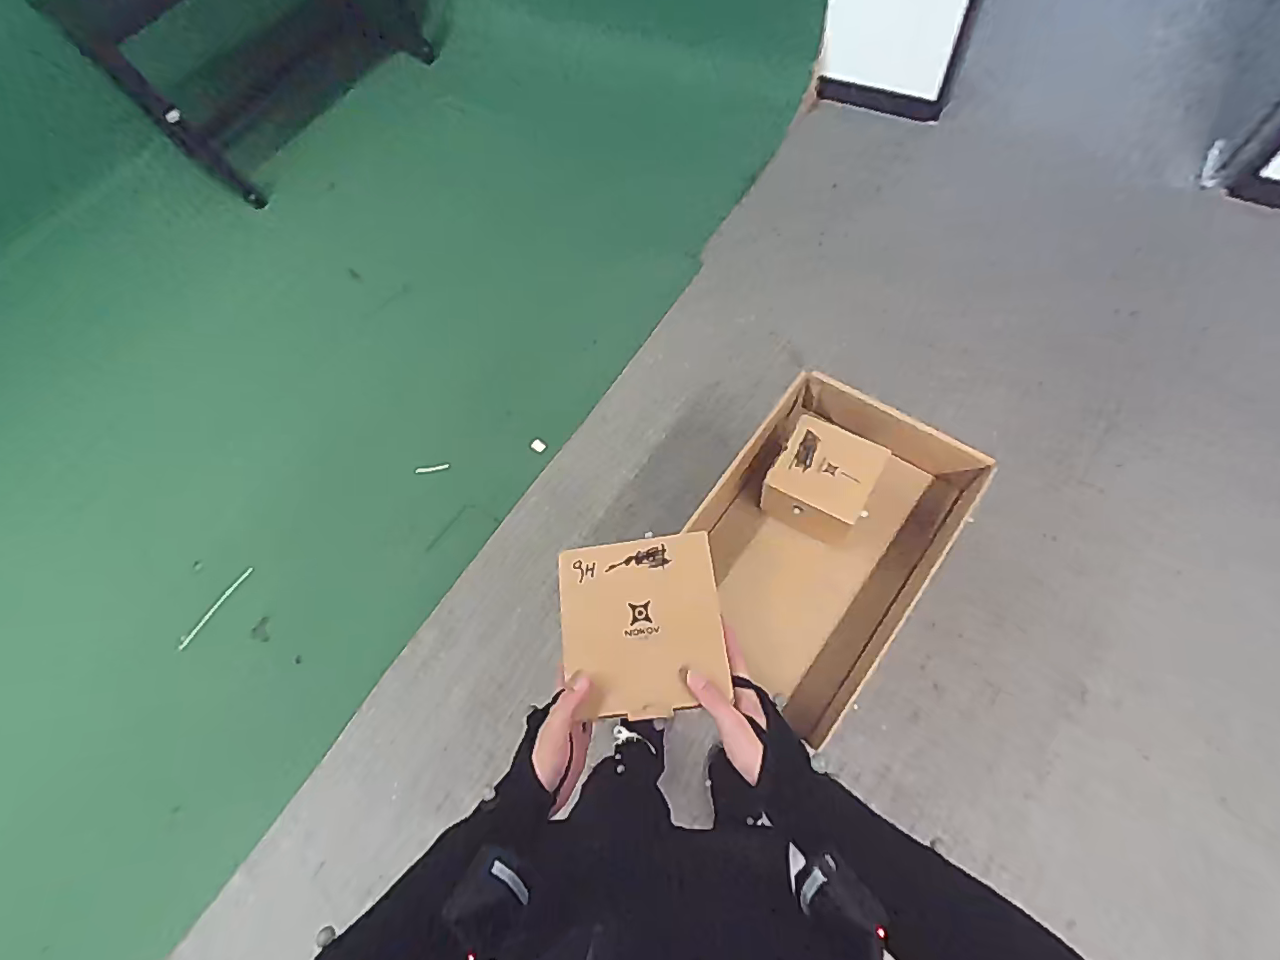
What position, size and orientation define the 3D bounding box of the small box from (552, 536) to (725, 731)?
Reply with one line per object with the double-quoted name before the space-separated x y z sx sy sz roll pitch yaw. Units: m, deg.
"small box" 0.005 0.177 0.618 0.168 0.176 0.179 -9 68 4
